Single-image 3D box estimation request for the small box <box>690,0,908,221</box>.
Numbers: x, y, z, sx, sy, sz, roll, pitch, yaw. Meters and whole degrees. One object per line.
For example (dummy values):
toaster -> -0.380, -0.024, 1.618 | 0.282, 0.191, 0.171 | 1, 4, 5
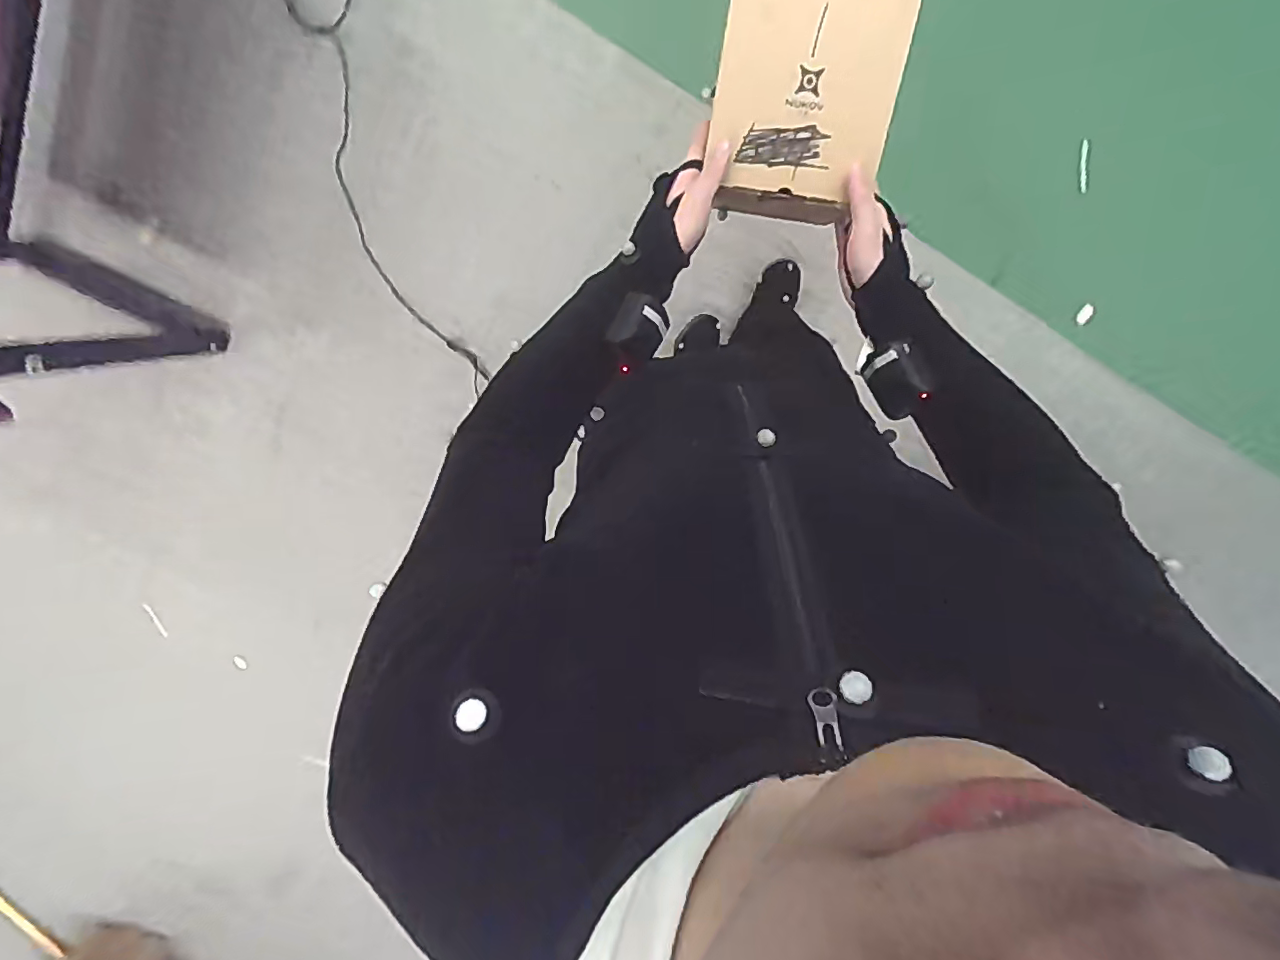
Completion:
small box -> 0.149, -0.386, 0.574 | 0.168, 0.176, 0.179 | 8, 109, 1
